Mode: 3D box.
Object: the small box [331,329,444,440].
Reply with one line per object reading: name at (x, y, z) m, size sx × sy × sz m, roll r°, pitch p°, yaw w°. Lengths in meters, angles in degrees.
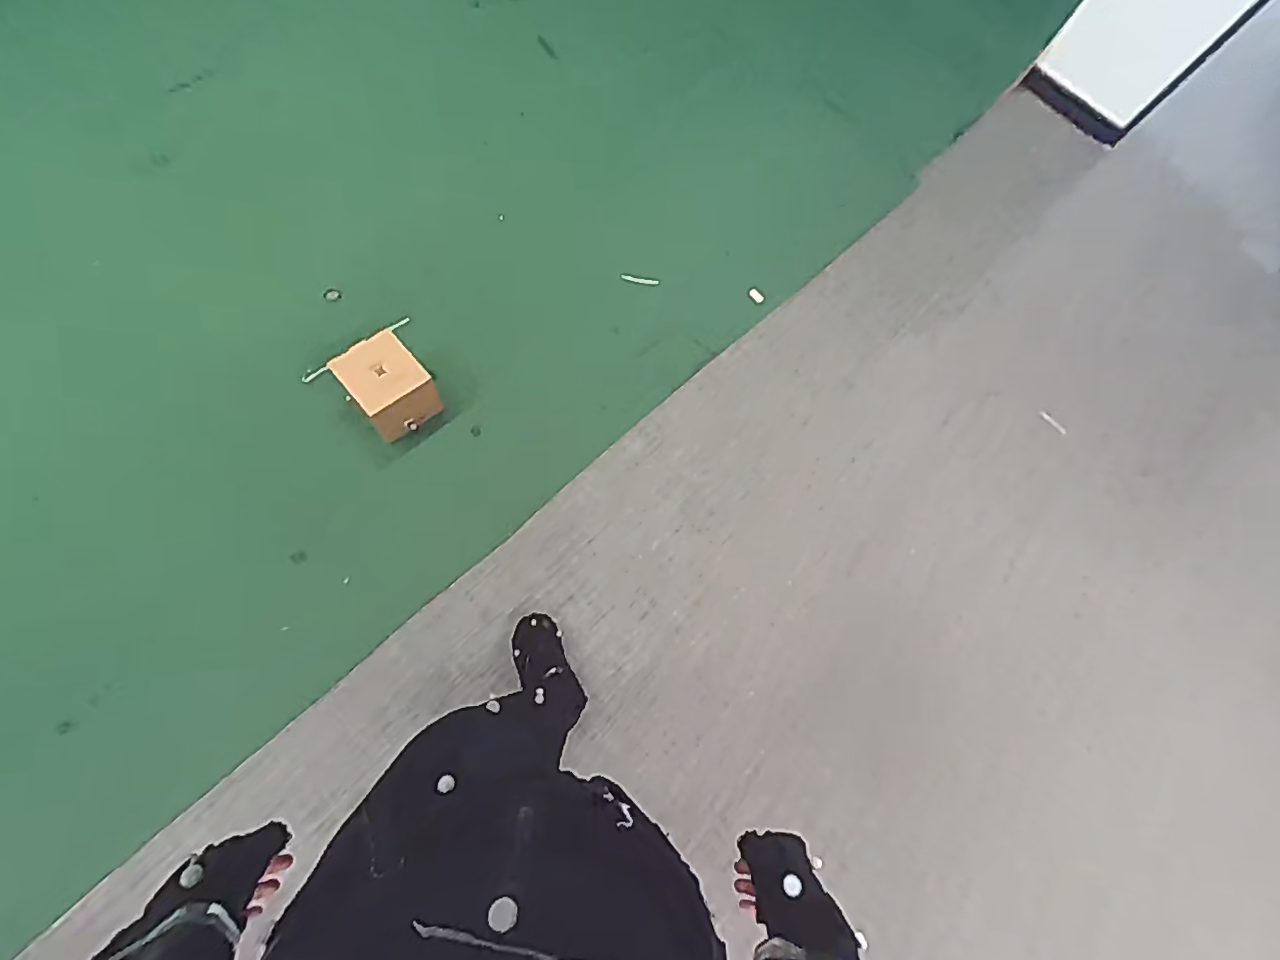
small box at (-0.614, -0.230, 1.337) m, size 0.168 × 0.176 × 0.179 m, roll -40°, pitch 83°, yaw -19°
